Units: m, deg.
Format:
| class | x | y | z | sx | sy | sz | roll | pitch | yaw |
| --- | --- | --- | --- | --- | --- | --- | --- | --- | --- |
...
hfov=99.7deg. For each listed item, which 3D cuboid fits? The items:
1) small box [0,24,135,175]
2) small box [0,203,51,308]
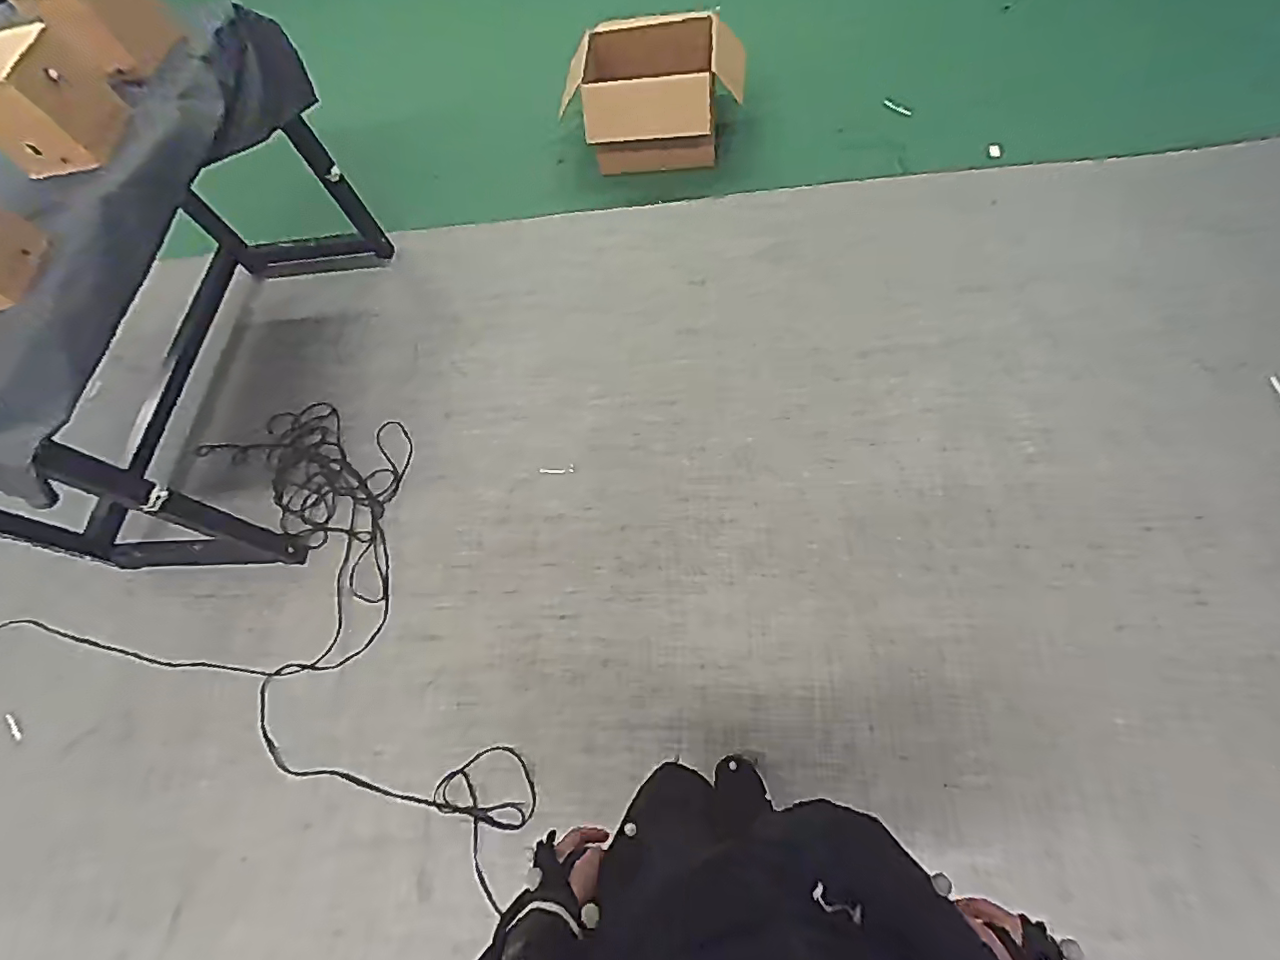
| class | x | y | z | sx | sy | sz | roll | pitch | yaw |
| --- | --- | --- | --- | --- | --- | --- | --- | --- | --- |
| small box | -1.151 | -0.732 | 1.051 | 0.168 | 0.176 | 0.179 | -4 | 66 | 7 |
| small box | -1.160 | -0.391 | 0.896 | 0.179 | 0.176 | 0.168 | -12 | 63 | 5 |
